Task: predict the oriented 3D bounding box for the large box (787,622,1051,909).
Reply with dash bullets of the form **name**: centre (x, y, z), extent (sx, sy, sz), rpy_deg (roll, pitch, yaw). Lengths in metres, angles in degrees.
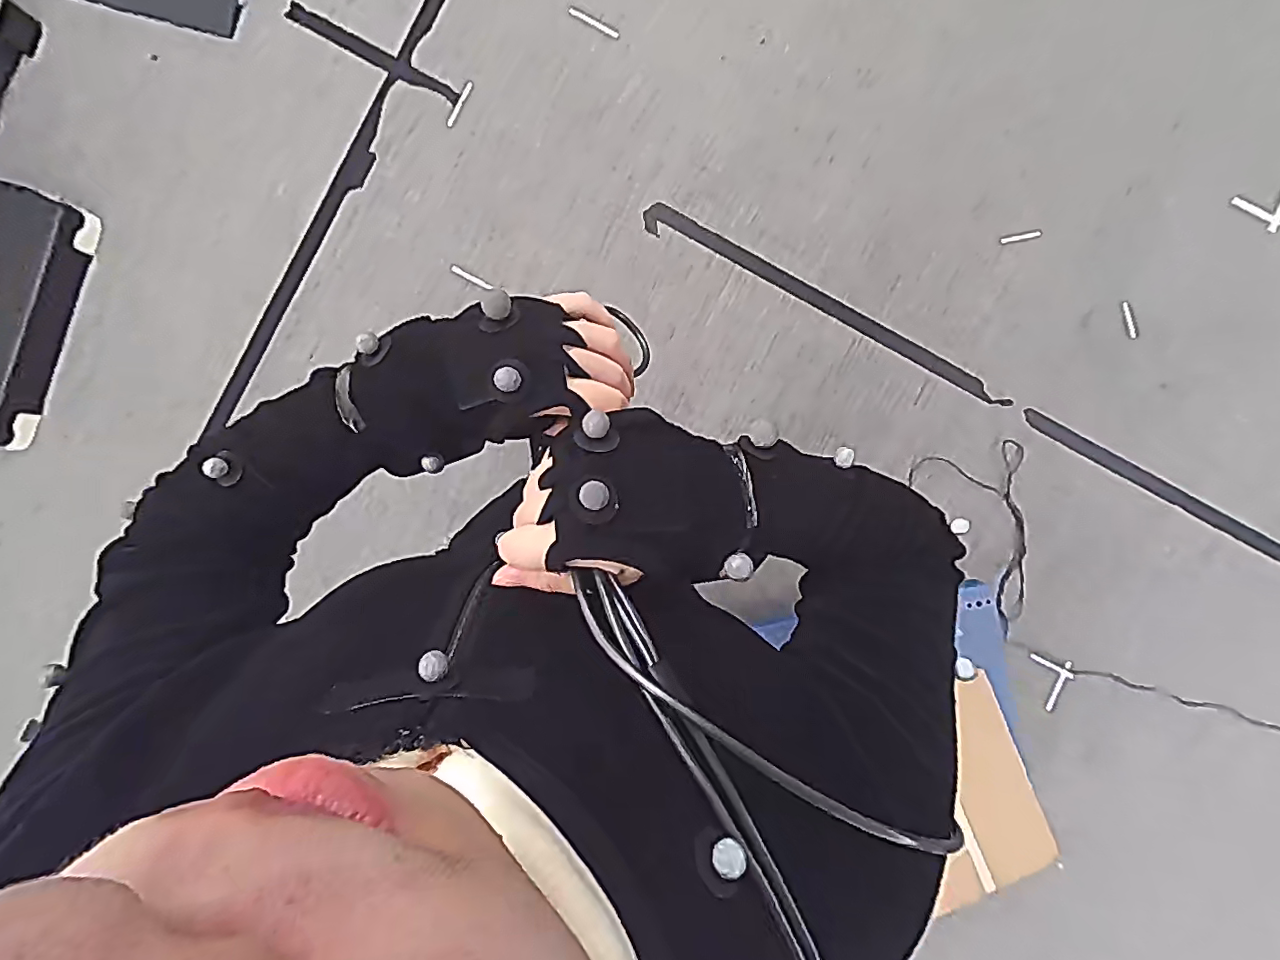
- **large box**: centre (0.577, 0.587, 1.189), extent (0.320, 0.320, 0.408), rpy_deg (-22, 91, -1)
